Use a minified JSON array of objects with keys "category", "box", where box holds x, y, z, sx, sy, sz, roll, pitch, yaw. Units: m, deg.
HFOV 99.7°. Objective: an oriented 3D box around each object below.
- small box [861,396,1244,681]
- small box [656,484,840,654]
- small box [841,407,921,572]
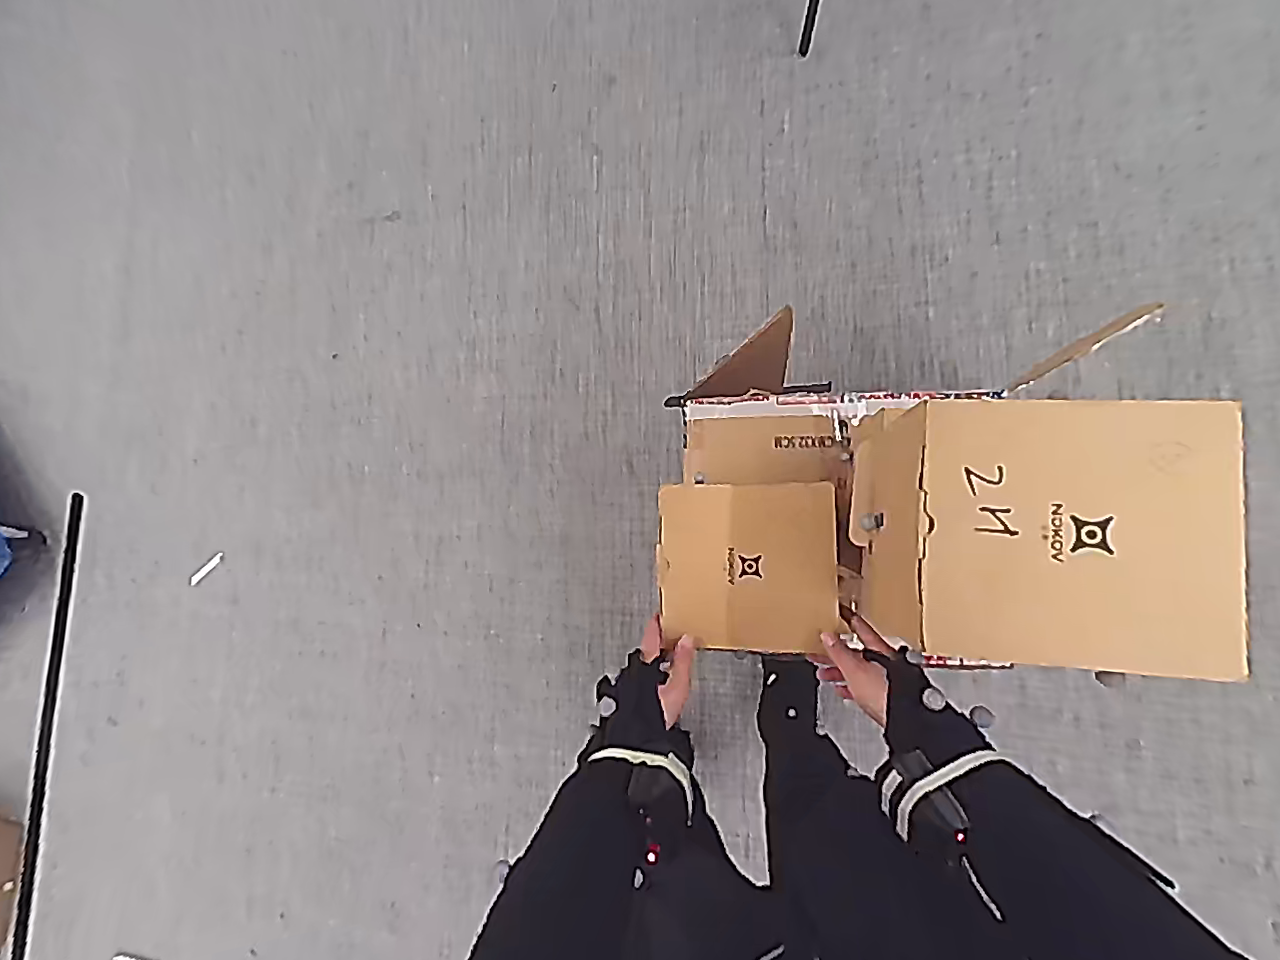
[{"category":"small box","box":[0.278,0.036,0.406,0.179,0.176,0.168,2,86,12]},{"category":"small box","box":[0.120,0.090,0.610,0.179,0.176,0.168,-2,86,14]},{"category":"small box","box":[0.317,0.026,0.568,0.179,0.176,0.168,5,87,12]}]
